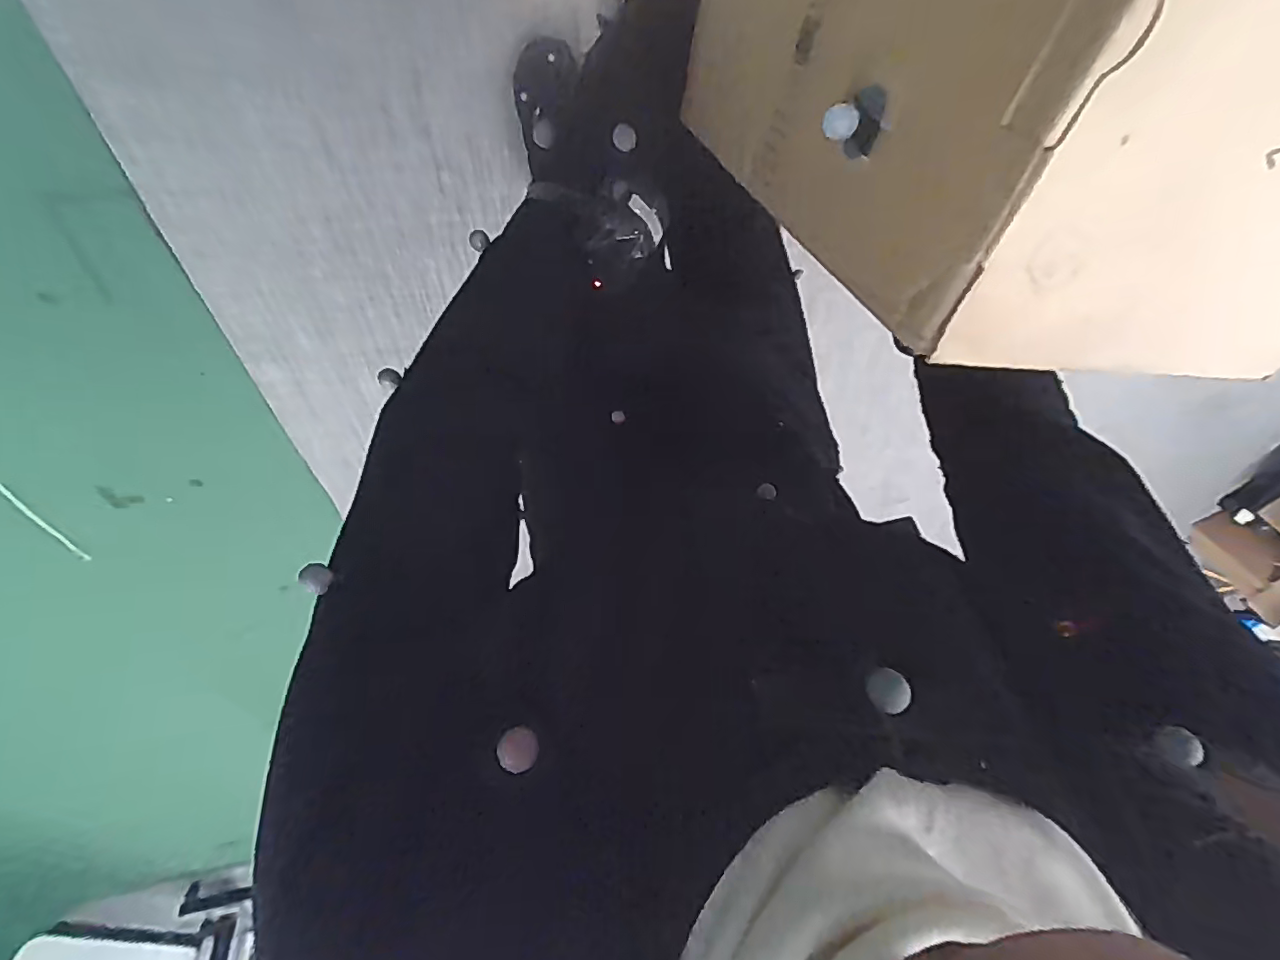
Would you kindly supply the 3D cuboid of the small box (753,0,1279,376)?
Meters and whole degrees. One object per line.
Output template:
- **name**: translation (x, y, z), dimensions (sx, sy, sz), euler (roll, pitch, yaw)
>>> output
- **small box**: translation (0.163, -0.154, 0.191), dimensions (0.179, 0.176, 0.168), euler (-3, 137, -16)
